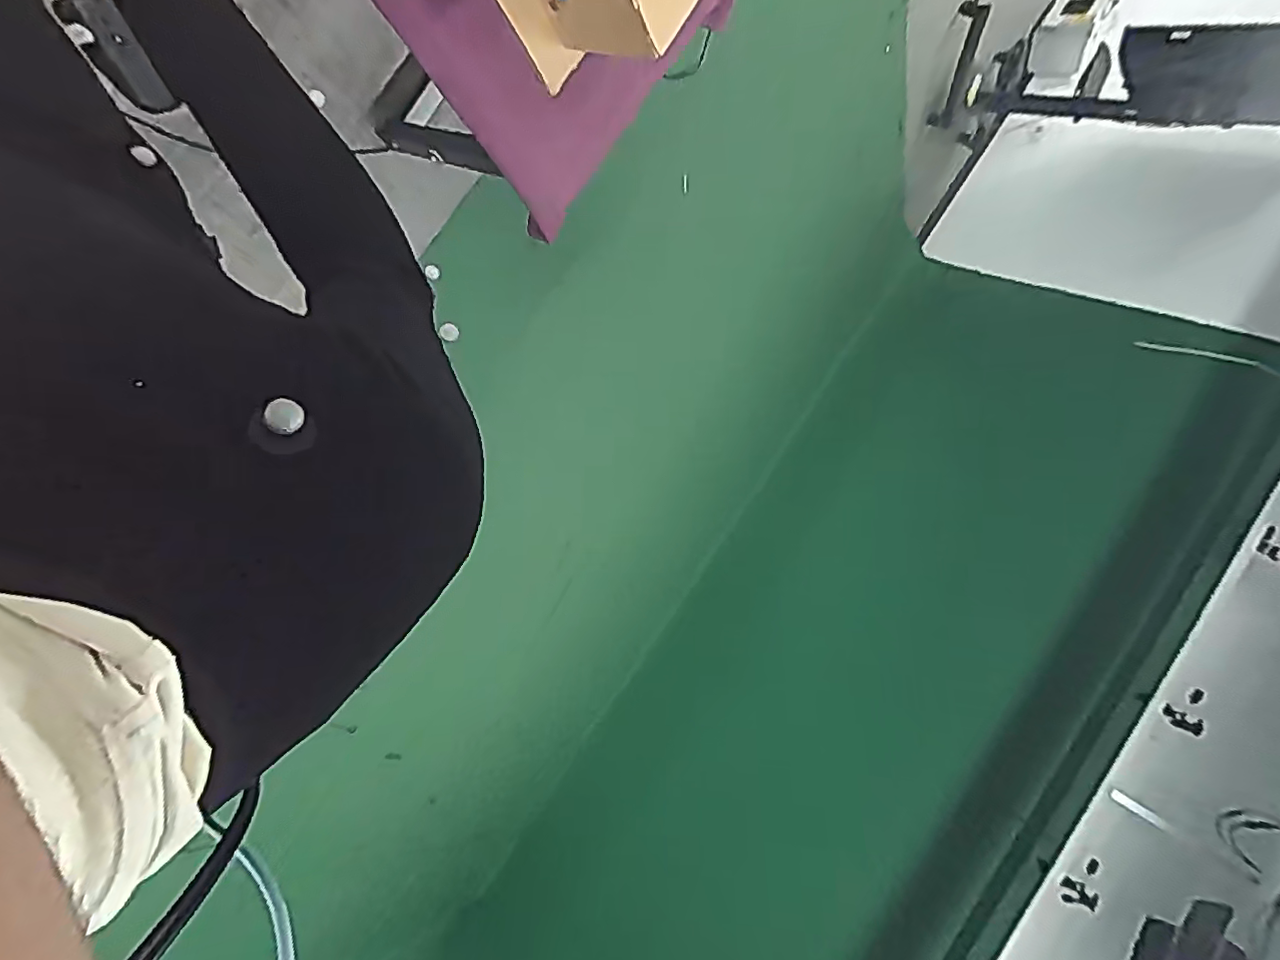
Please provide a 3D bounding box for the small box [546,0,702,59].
[{"bbox_3d":[-0.019,-0.644,0.630,0.179,0.176,0.168,-57,150,-1],"label":"small box"}]
